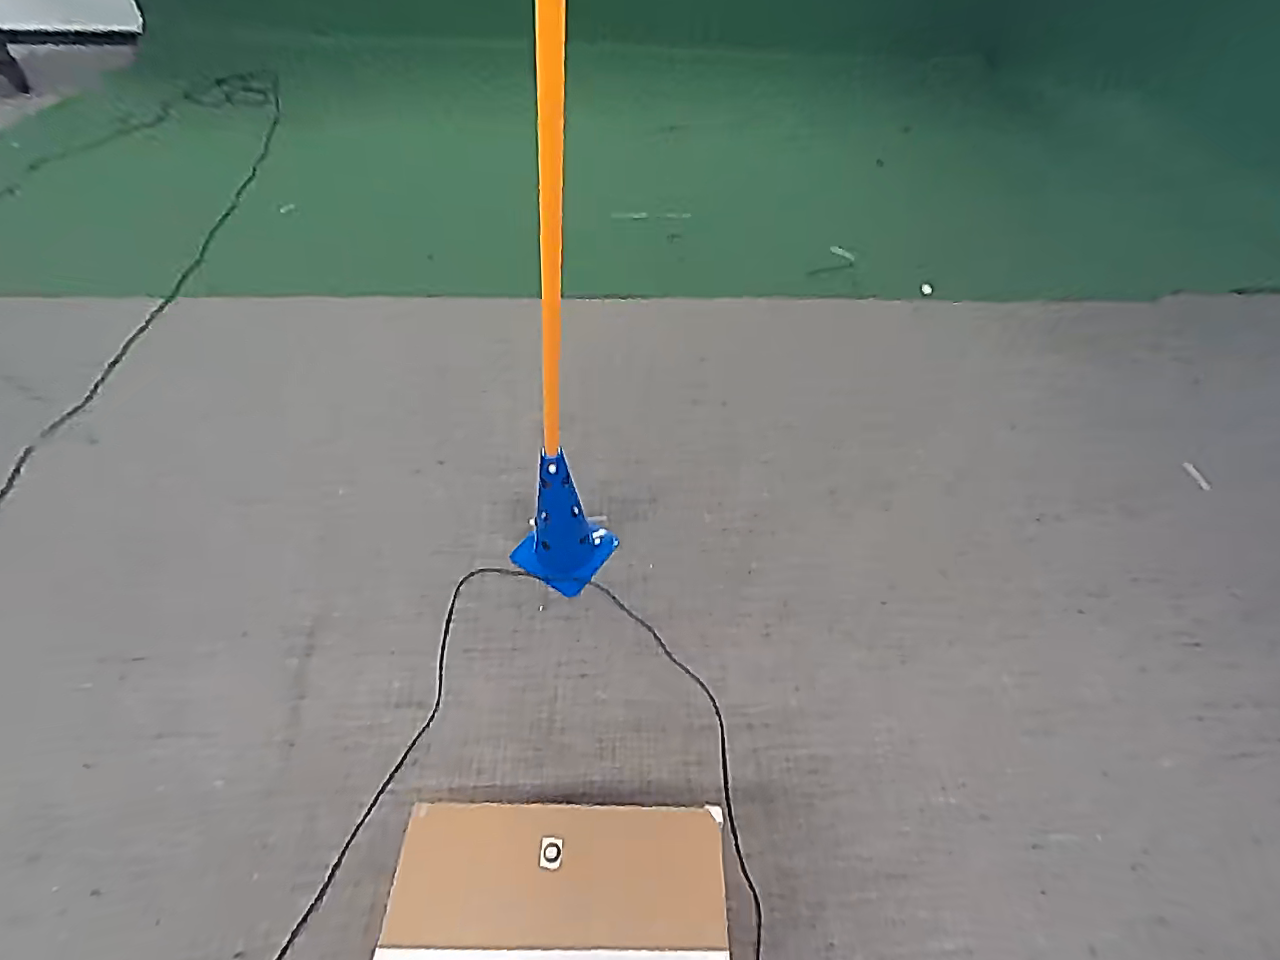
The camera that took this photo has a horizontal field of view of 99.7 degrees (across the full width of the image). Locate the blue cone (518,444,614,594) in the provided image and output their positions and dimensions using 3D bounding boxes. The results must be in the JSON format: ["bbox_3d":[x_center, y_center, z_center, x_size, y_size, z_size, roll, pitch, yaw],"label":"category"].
[{"bbox_3d":[-0.168,0.061,1.170,0.192,0.380,0.193,26,53,17],"label":"blue cone"}]
